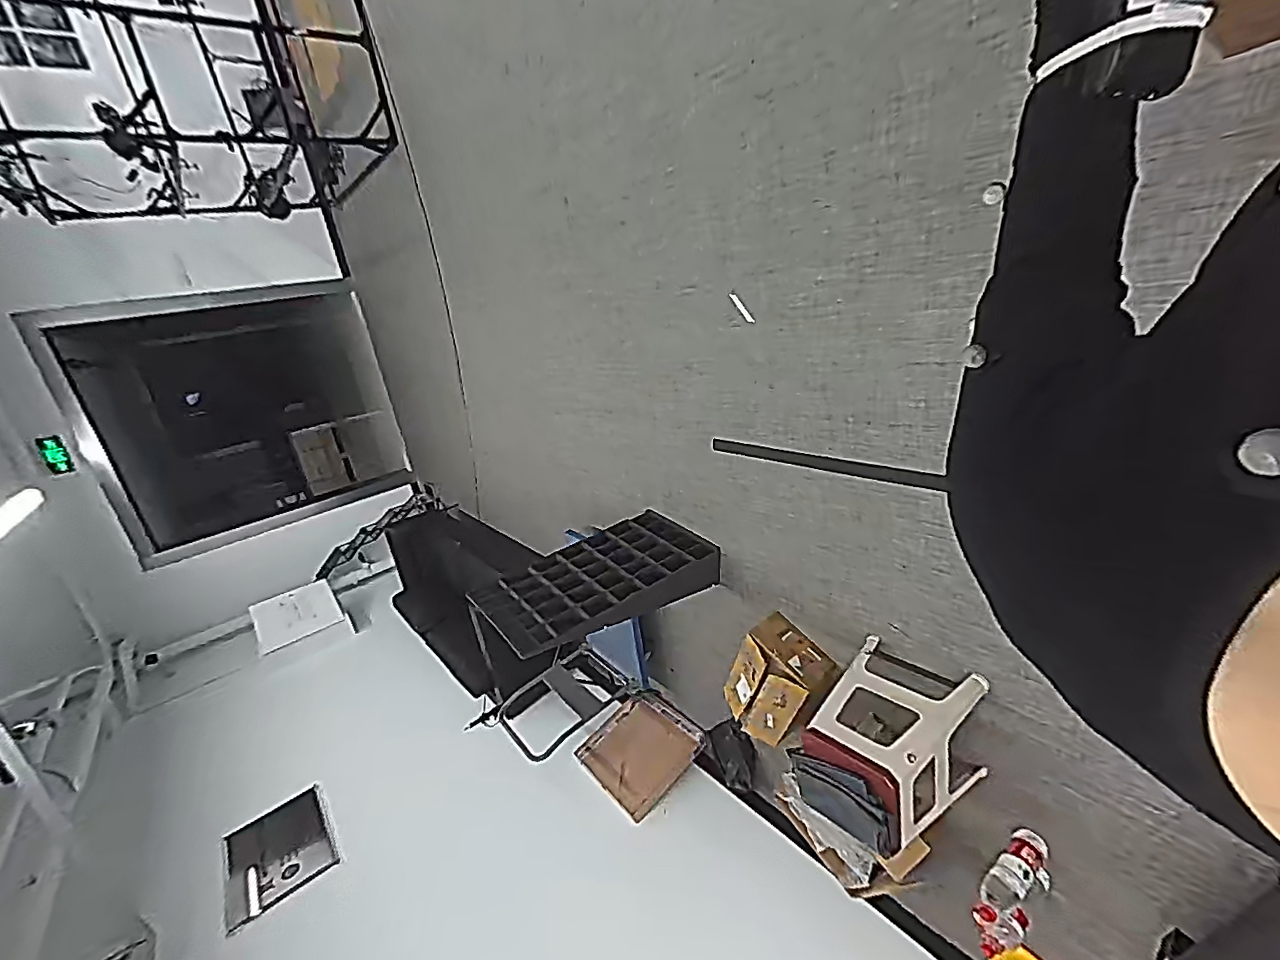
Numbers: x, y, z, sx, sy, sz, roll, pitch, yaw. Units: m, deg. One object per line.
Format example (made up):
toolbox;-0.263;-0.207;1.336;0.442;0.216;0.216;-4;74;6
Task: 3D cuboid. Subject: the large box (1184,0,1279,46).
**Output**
large box;0.550;-0.513;0.260;0.408;0.320;0.320;5;113;52
